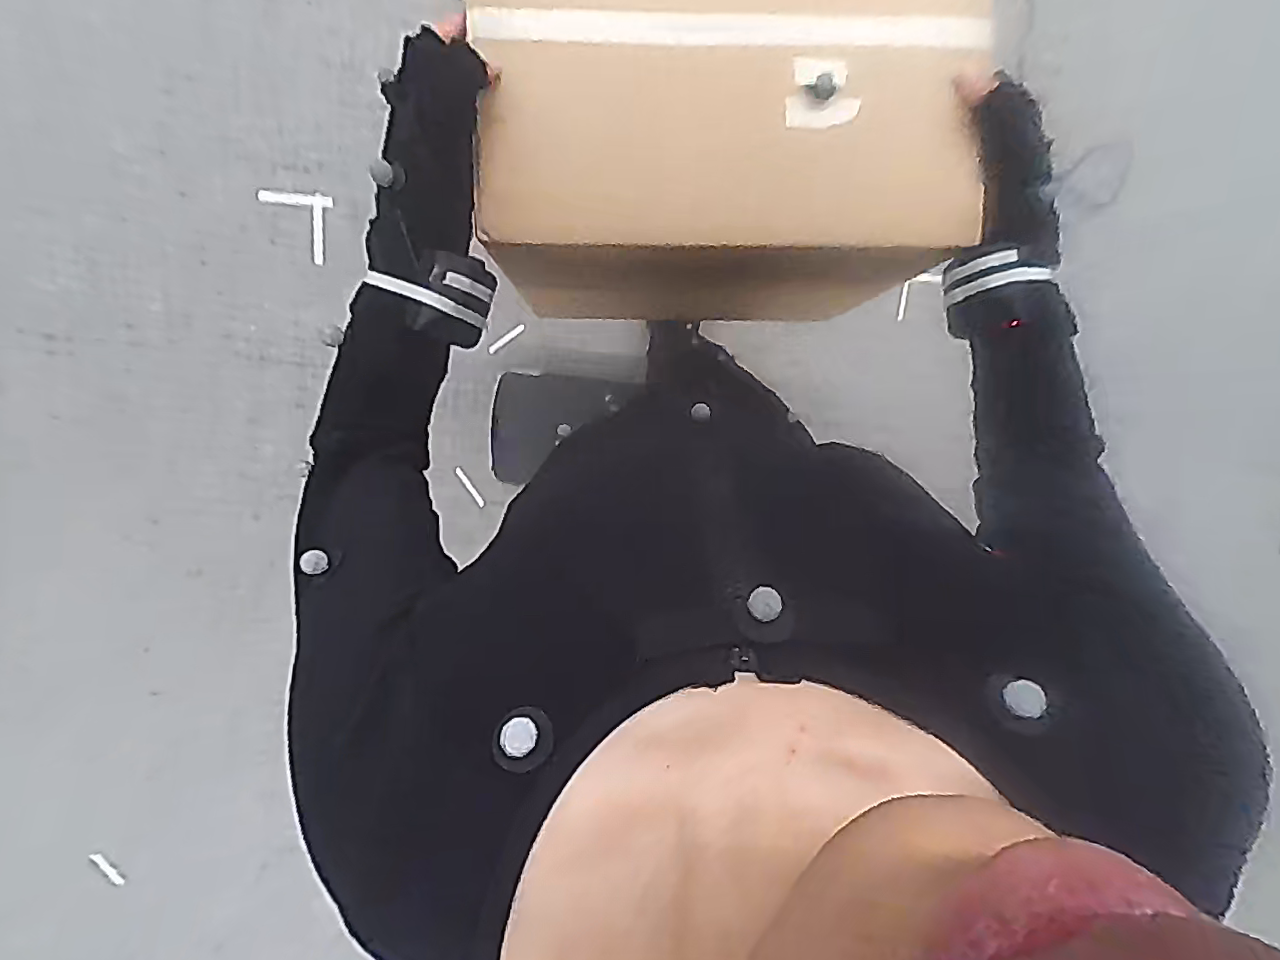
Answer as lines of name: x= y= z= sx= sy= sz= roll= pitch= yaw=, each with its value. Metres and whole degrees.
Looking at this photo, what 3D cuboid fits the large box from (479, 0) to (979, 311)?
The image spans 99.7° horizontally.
large box: x=0.064 y=-0.371 z=0.574 sx=0.408 sy=0.320 sz=0.320 roll=0 pitch=96 yaw=-3
